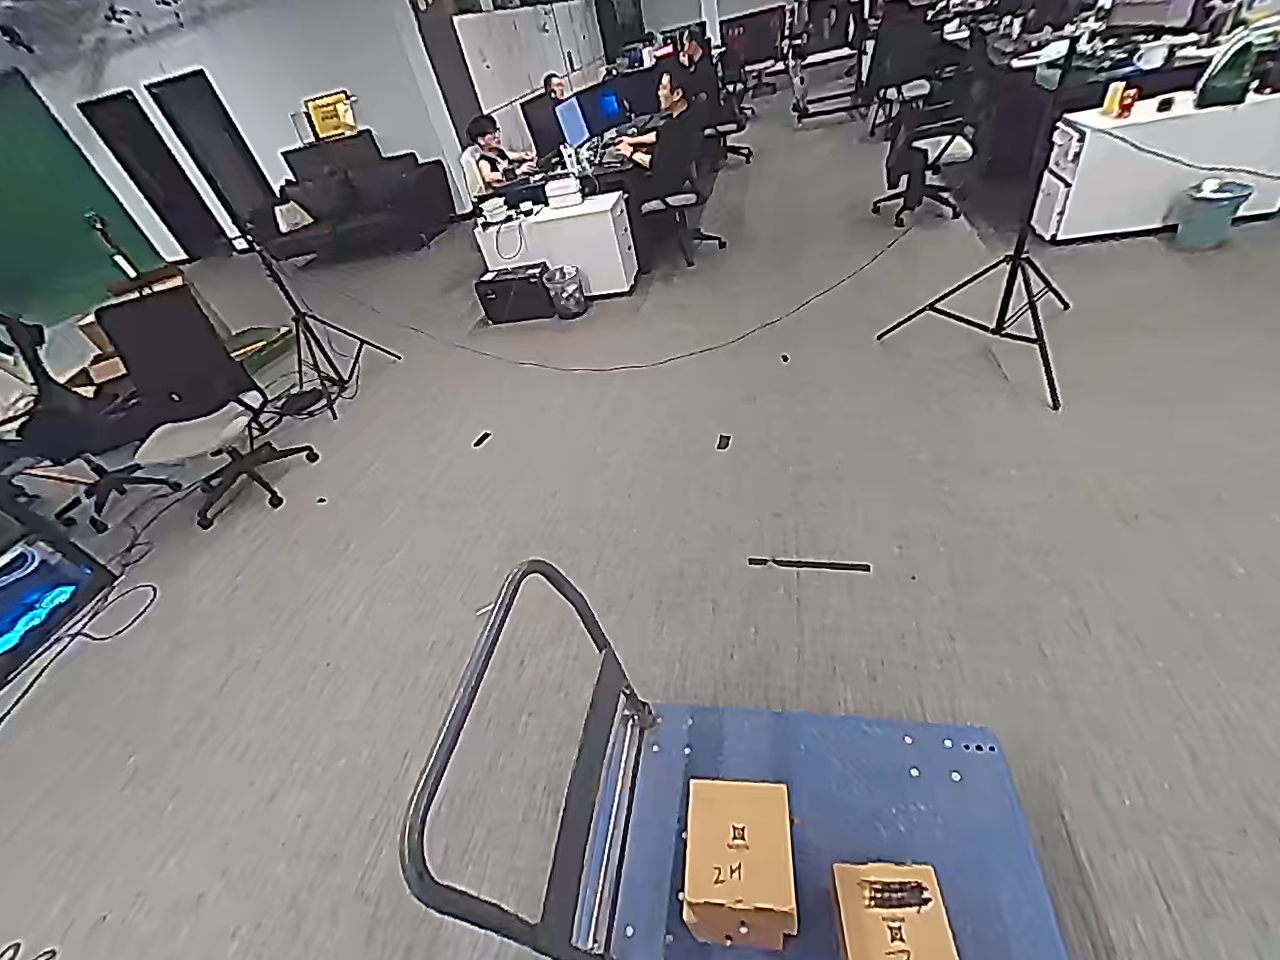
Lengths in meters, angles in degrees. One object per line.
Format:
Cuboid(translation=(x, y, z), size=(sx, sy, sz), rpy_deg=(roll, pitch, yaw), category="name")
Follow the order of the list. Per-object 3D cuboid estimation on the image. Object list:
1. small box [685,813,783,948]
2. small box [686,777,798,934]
Cuboid(translation=(0.181, 0.754, 1.026), size=(0.168, 0.176, 0.179), rpy_deg=(-4, 42, 12), category="small box")
Cuboid(translation=(0.175, 0.631, 0.913), size=(0.168, 0.176, 0.179), rpy_deg=(-4, 42, 13), category="small box")
